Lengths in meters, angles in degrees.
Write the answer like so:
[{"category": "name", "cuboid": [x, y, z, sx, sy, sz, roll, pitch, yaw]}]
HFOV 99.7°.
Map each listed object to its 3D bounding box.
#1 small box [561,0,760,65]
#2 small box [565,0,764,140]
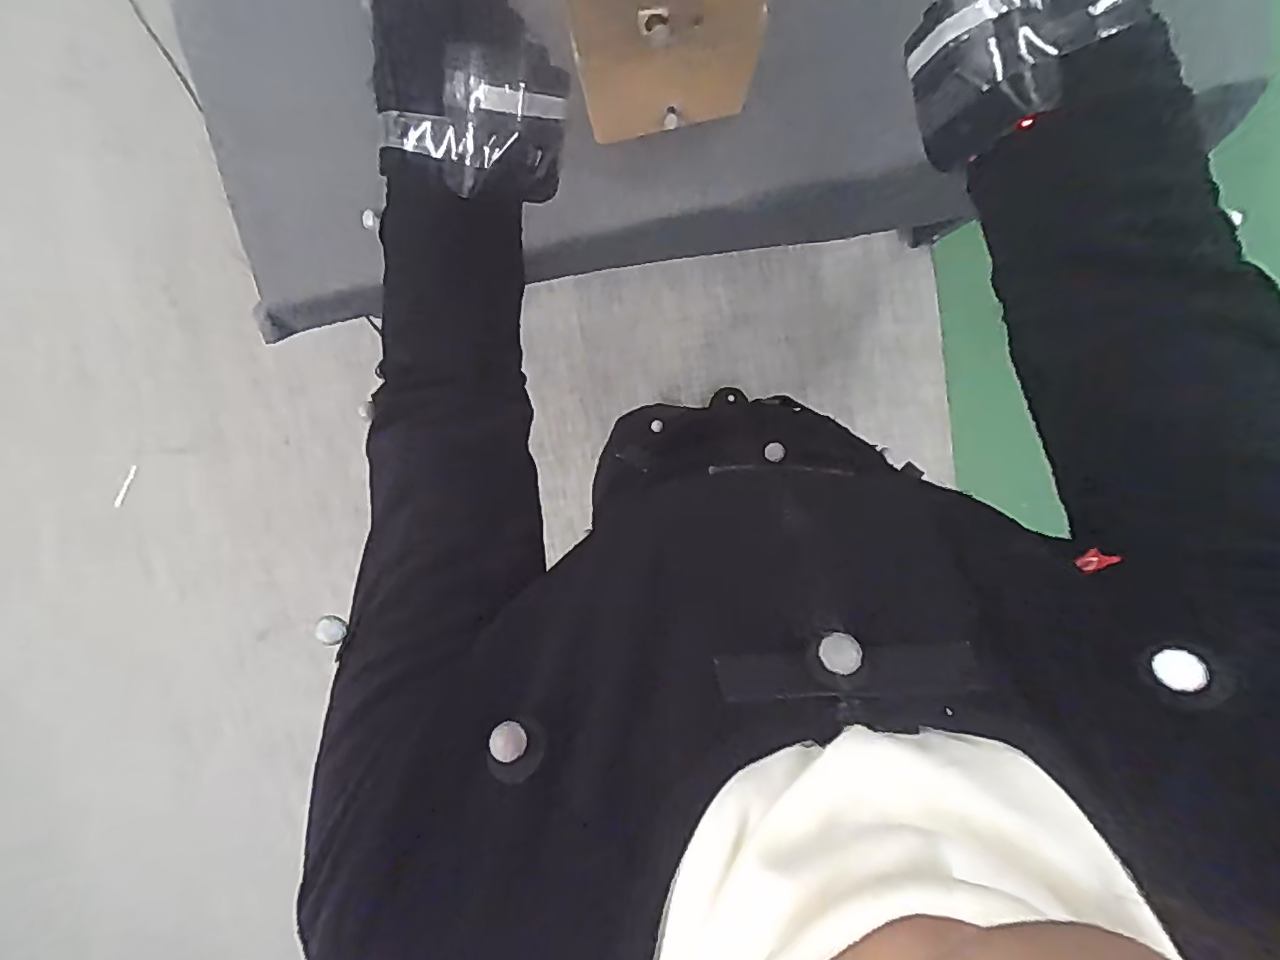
[{"category": "small box", "cuboid": [0.003, -0.456, 0.389, 0.168, 0.176, 0.179, -10, 99, 7]}, {"category": "small box", "cuboid": [0.014, -0.483, 0.549, 0.179, 0.176, 0.168, -10, 98, 4]}]
